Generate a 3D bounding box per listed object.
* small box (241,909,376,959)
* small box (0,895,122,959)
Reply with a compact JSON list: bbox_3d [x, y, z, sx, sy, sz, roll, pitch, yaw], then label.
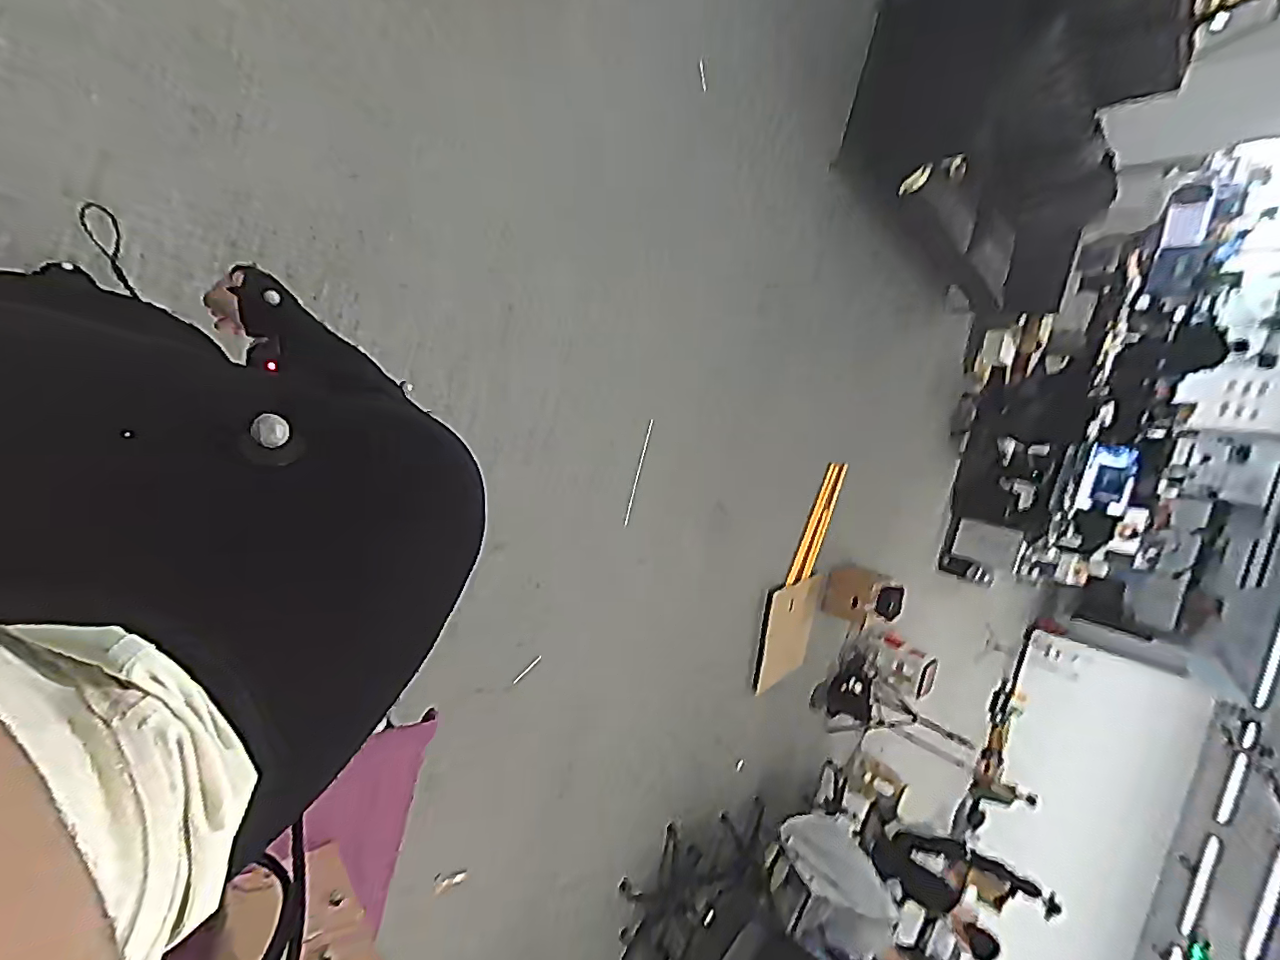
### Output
[{"bbox_3d":[-0.471,0.774,0.762,0.168,0.176,0.179,7,98,-46],"label":"small box"},{"bbox_3d":[-0.772,0.685,0.676,0.168,0.176,0.179,8,97,-46],"label":"small box"}]
